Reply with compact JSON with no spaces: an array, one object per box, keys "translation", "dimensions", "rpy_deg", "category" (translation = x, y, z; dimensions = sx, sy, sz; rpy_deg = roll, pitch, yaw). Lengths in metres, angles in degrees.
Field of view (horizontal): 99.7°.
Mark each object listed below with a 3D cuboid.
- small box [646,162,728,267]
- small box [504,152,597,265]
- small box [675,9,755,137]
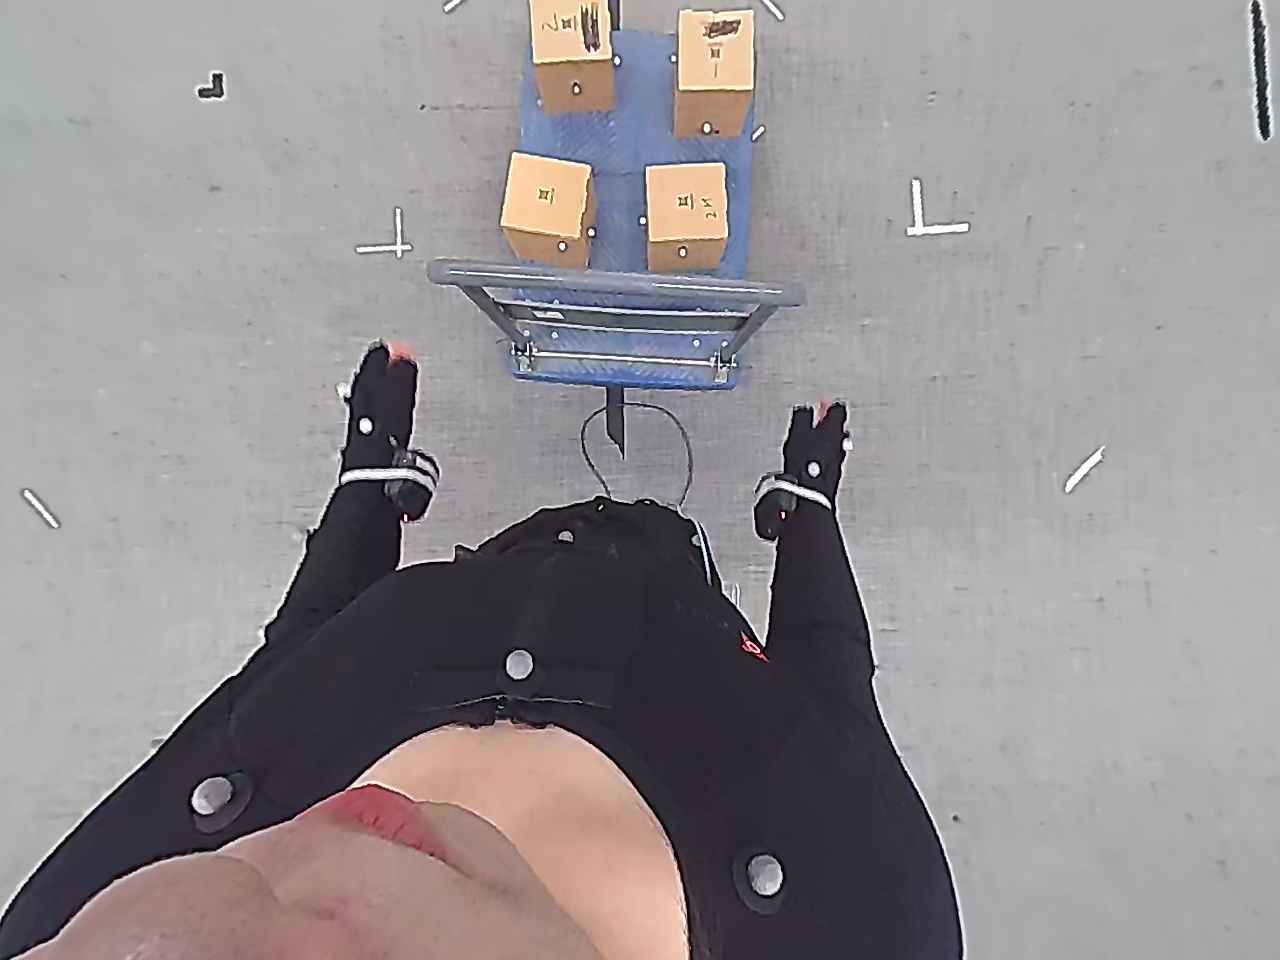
[{"translation":[0.105,-0.609,1.259],"dimensions":[0.179,0.176,0.168],"rpy_deg":[-2,90,0],"category":"small box"},{"translation":[-0.201,-0.623,1.259],"dimensions":[0.179,0.176,0.168],"rpy_deg":[9,89,-1],"category":"small box"},{"translation":[0.169,-0.941,1.259],"dimensions":[0.168,0.176,0.179],"rpy_deg":[0,91,0],"category":"small box"}]
